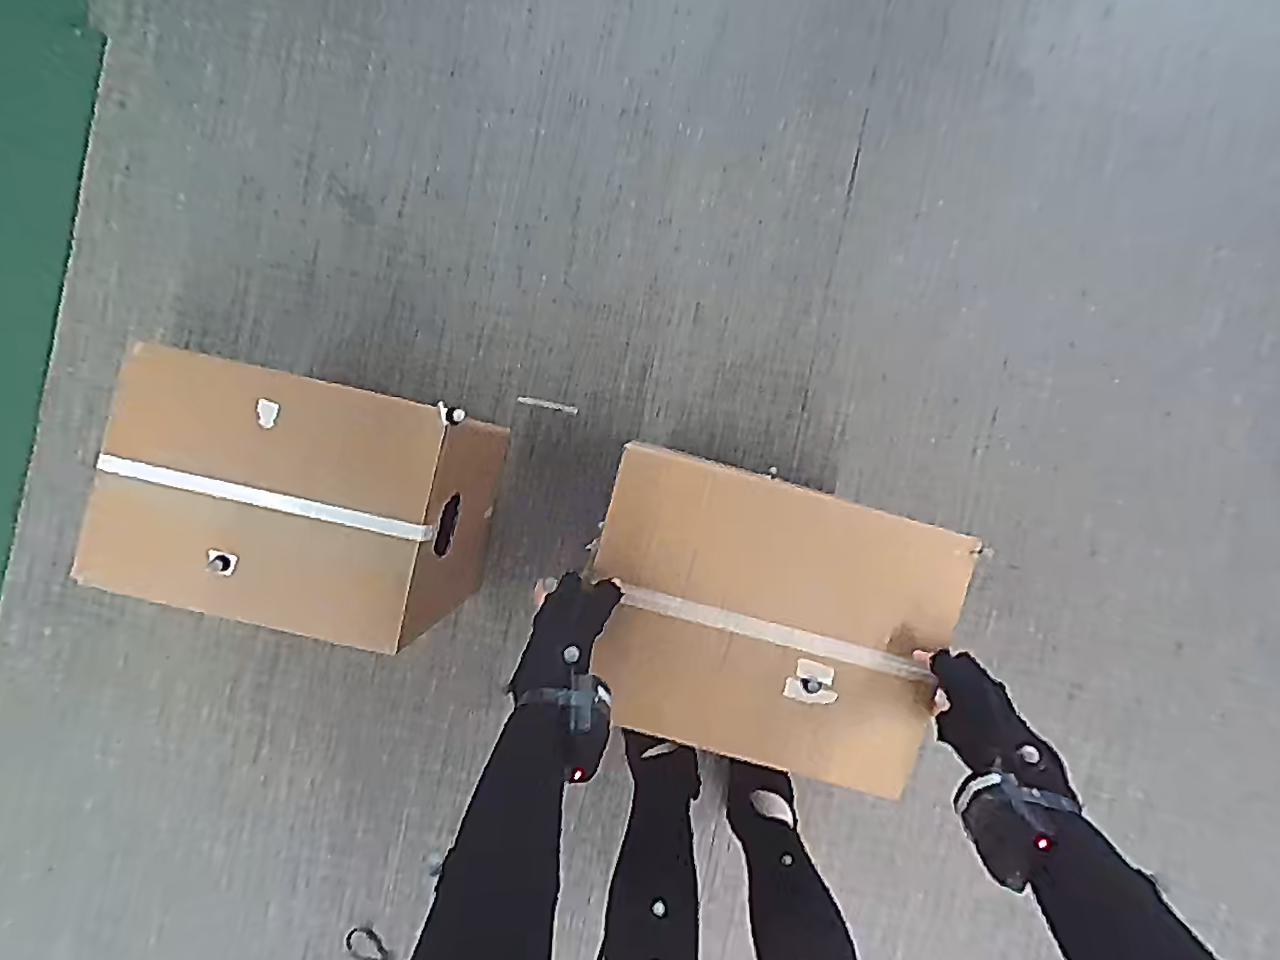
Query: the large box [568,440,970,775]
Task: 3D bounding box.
[{"bbox_3d":[0.142,0.139,0.763,0.408,0.320,0.320,16,95,-1],"label":"large box"}]
